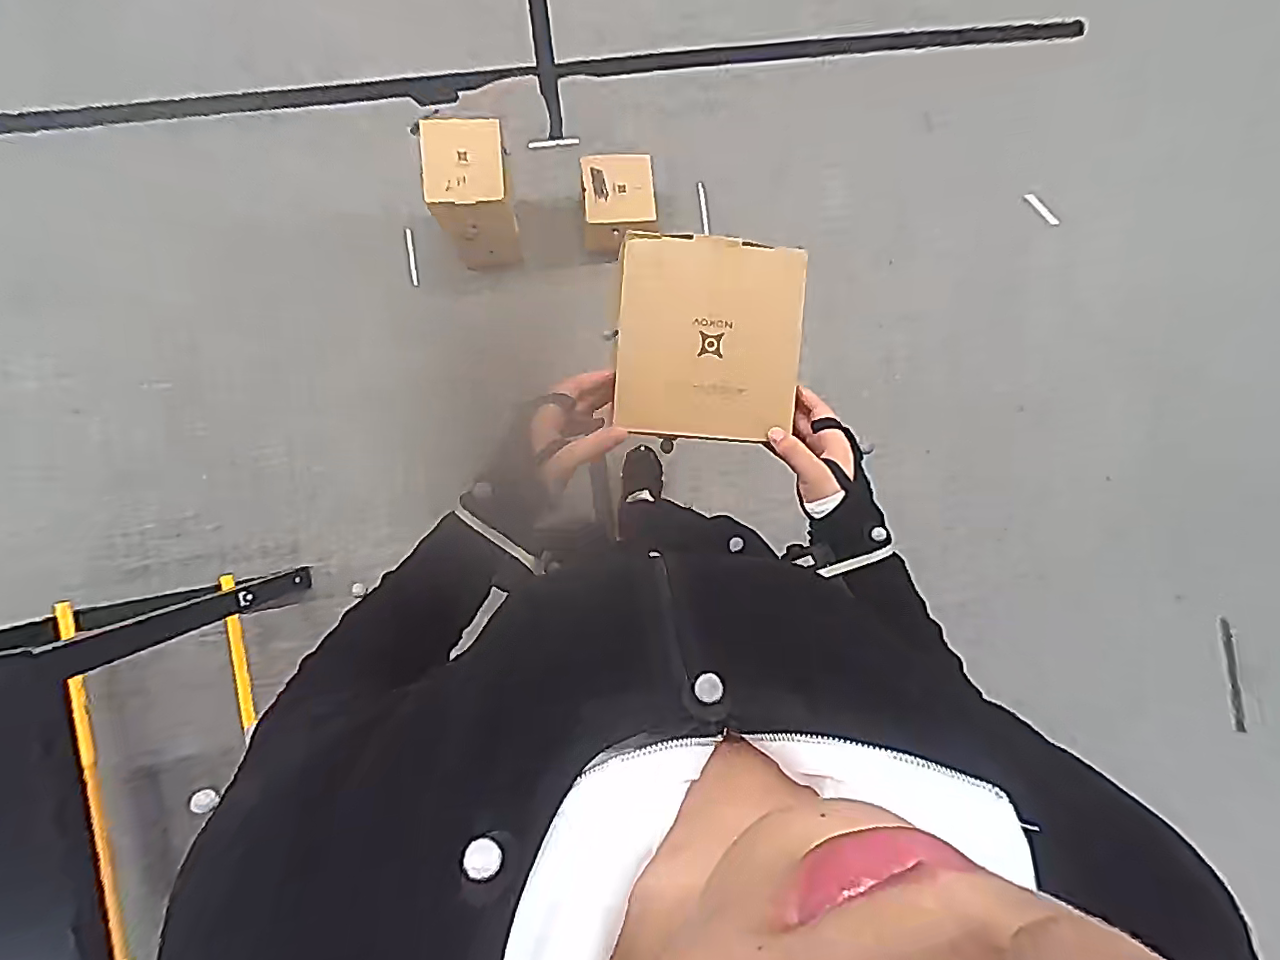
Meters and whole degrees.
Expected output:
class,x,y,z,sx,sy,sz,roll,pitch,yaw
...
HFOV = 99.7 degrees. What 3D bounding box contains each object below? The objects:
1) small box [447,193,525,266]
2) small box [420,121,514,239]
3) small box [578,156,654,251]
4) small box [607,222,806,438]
class,x,y,z,sx,sy,sz,roll,pitch,yaw
small box,-0.394,-0.658,1.369,0.168,0.176,0.179,-9,92,-5
small box,-0.378,-0.660,1.203,0.168,0.176,0.179,-4,91,-5
small box,-0.065,-0.709,1.401,0.179,0.176,0.168,-6,91,-6
small box,0.054,-0.137,0.559,0.168,0.176,0.179,3,94,-6
